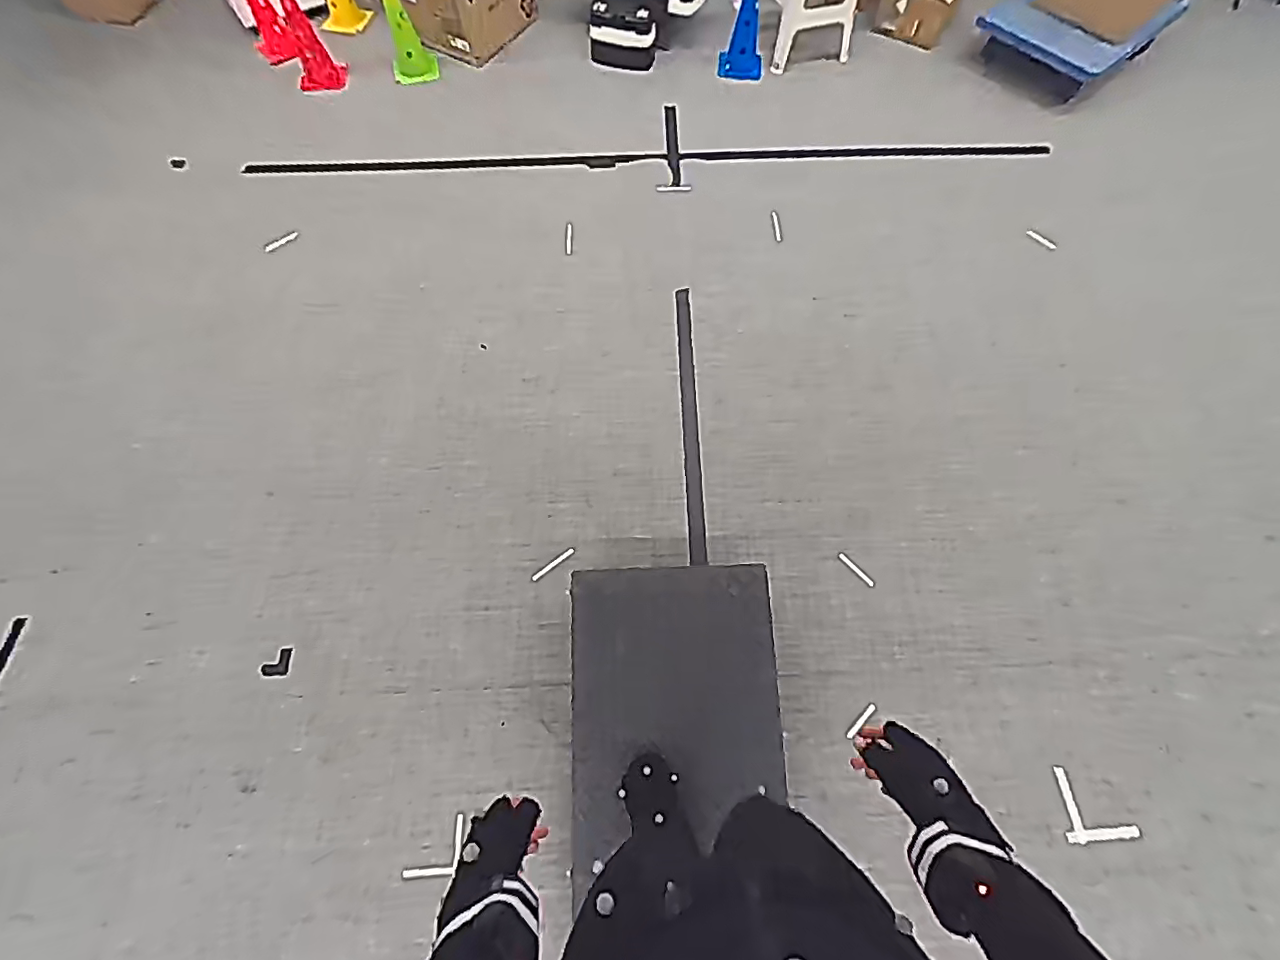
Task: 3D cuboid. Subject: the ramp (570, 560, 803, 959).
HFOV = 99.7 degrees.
[{"bbox_3d":[0.091,0.692,1.234,0.509,0.206,0.991,-3,66,-3],"label":"ramp"}]
